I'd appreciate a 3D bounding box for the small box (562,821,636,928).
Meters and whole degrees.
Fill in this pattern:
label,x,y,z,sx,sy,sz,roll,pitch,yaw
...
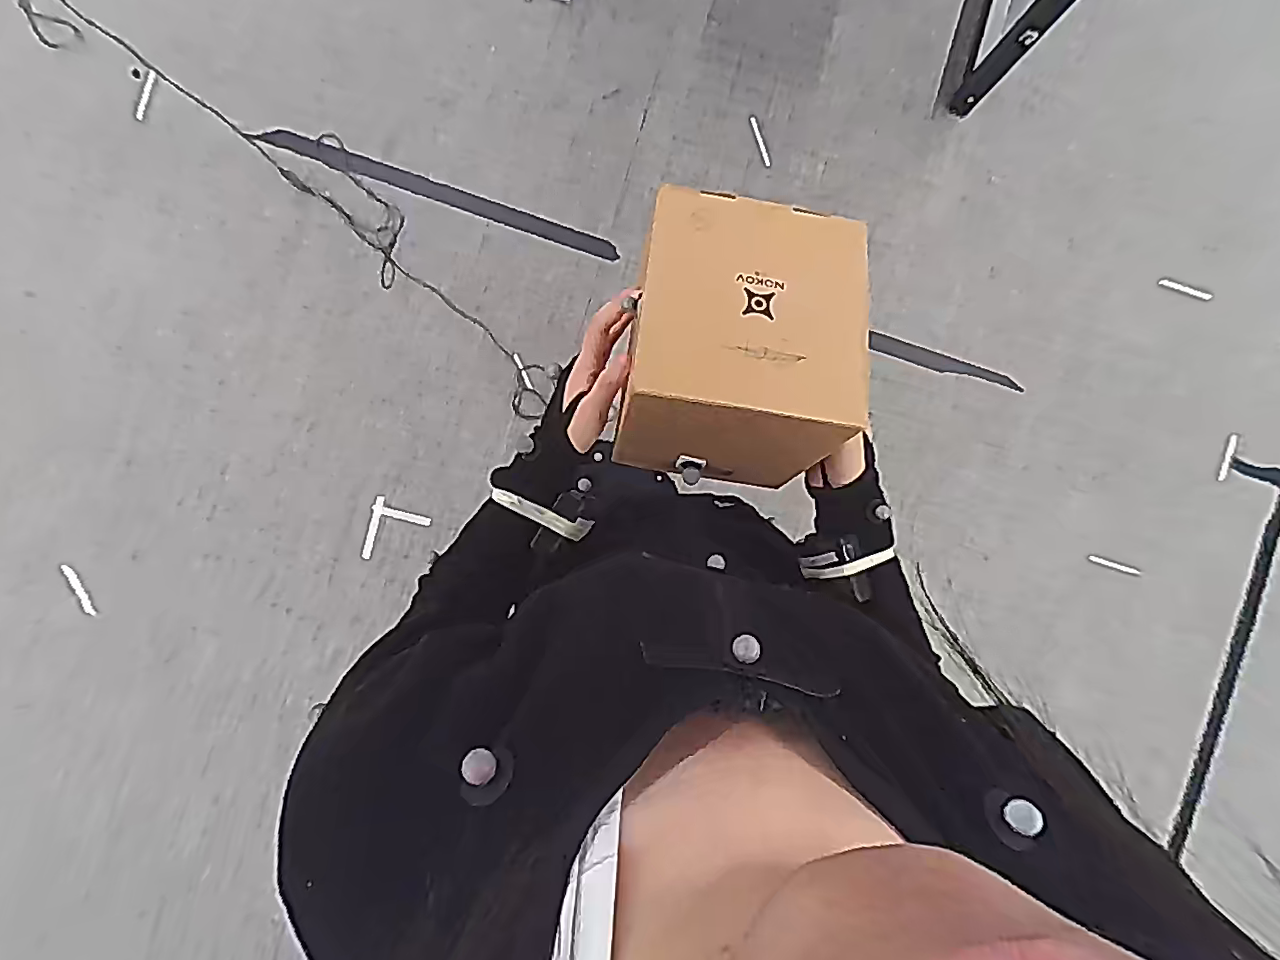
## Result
label,x,y,z,sx,sy,sz,roll,pitch,yaw
small box,-0.108,1.032,1.425,0.179,0.176,0.168,5,91,-3

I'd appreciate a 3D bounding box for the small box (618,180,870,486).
label,x,y,z,sx,sy,sz,roll,pitch,yaw
small box,0.075,-0.108,0.461,0.168,0.176,0.179,8,74,-5

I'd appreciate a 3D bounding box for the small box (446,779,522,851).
label,x,y,z,sx,sy,sz,roll,pitch,yaw
small box,-0.420,0.929,1.408,0.168,0.176,0.179,20,90,-3
